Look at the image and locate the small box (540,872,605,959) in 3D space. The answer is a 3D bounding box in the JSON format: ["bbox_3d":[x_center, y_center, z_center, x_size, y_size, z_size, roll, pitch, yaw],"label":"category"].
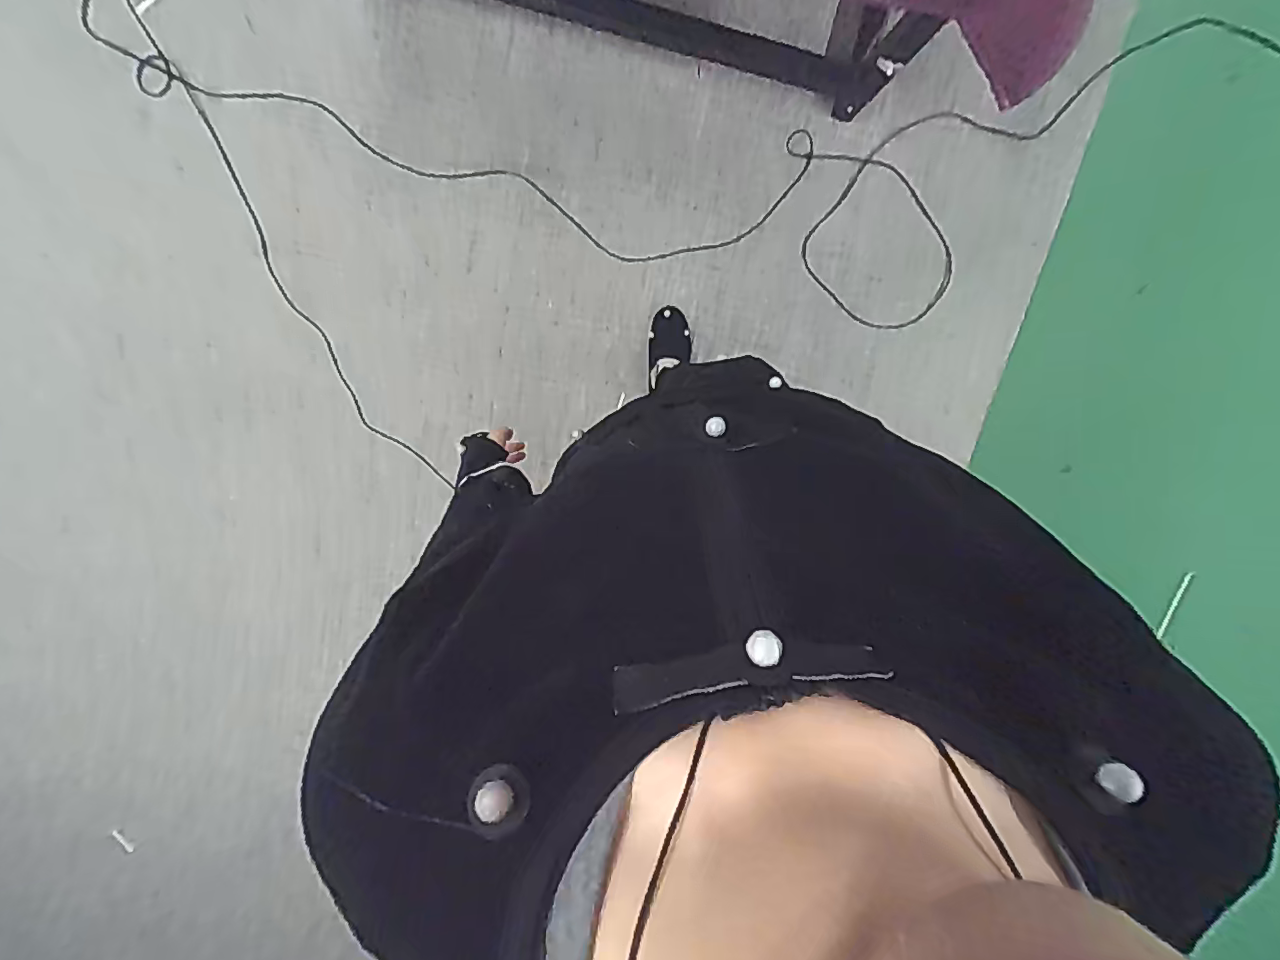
[{"bbox_3d":[-0.212,1.402,1.732,0.179,0.176,0.168,8,102,-4],"label":"small box"}]
